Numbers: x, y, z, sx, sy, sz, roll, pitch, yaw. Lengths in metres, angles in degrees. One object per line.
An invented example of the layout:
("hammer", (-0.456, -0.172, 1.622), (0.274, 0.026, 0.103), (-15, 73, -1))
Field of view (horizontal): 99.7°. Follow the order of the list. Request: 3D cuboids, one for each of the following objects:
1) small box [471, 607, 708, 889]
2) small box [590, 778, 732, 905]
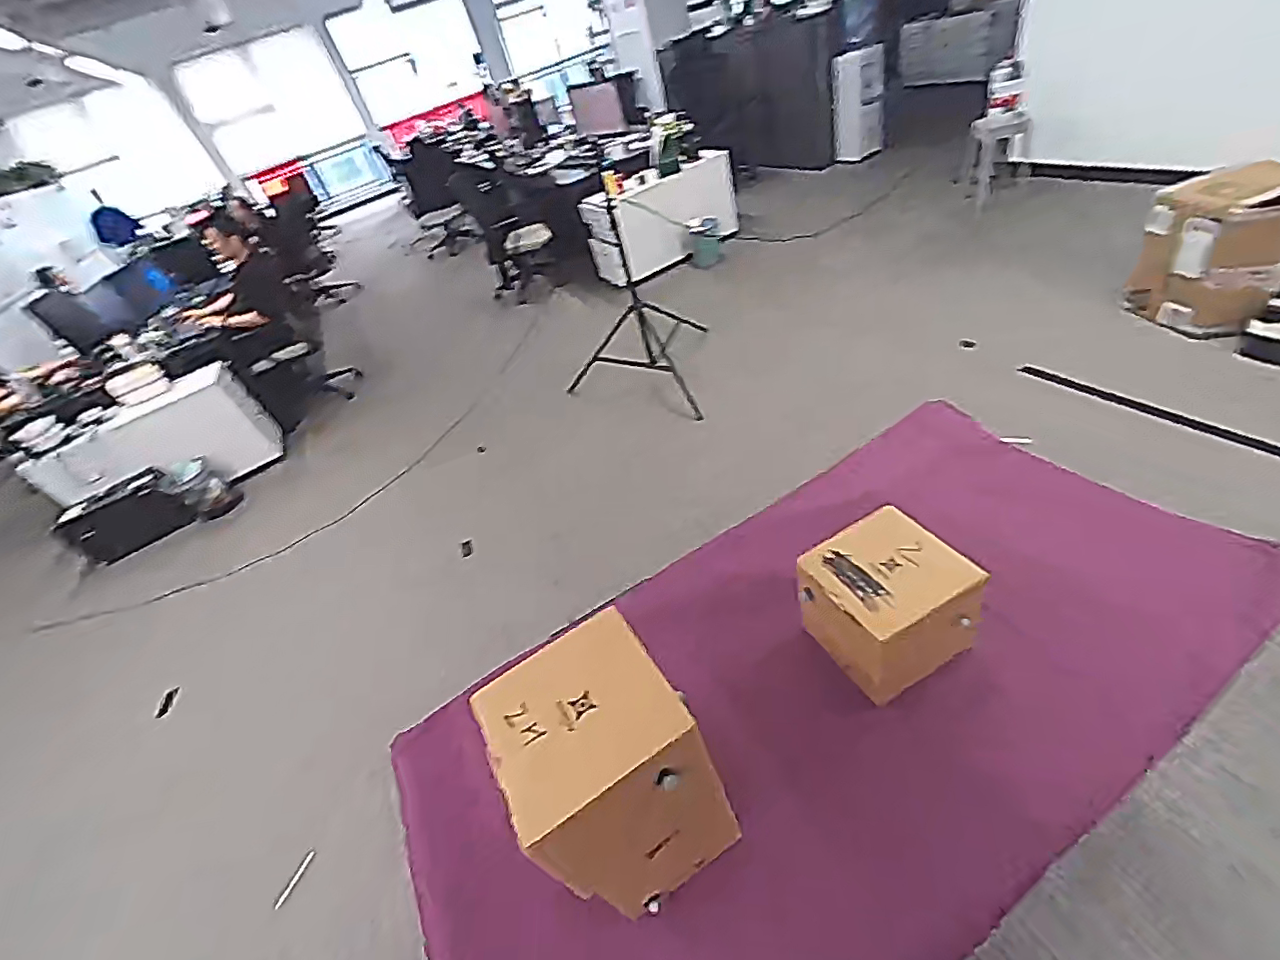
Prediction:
("small box", (-0.044, 0.277, 0.567), (0.179, 0.176, 0.168), (-31, 41, -14))
("small box", (-0.004, 0.391, 0.679), (0.168, 0.176, 0.179), (-30, 41, -13))
